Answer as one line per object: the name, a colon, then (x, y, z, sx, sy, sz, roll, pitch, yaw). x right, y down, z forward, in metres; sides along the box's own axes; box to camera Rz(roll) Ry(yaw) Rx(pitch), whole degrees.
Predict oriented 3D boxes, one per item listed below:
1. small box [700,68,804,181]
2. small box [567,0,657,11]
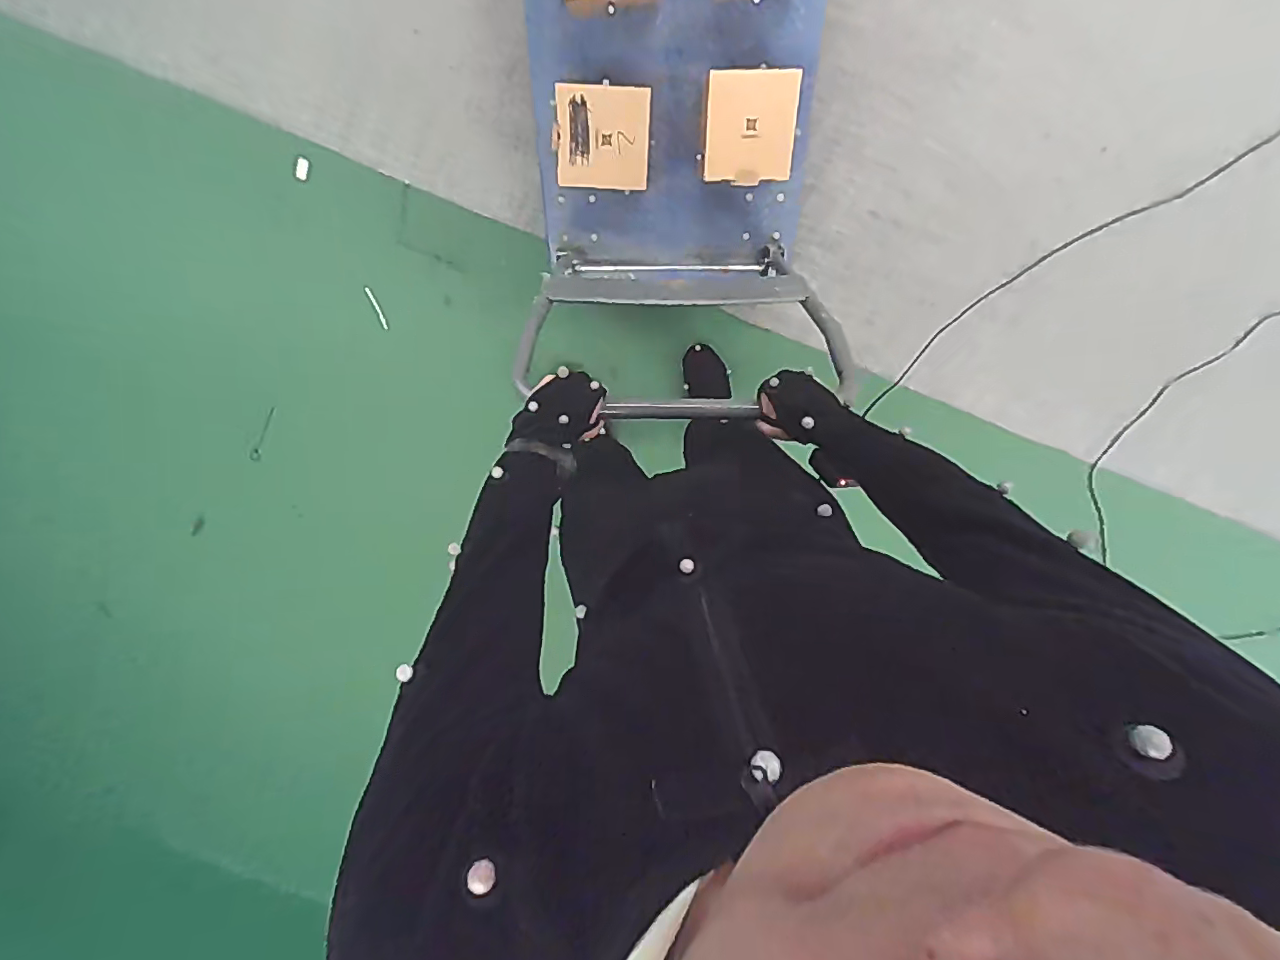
small box: (0.210, -0.695, 1.066, 0.168, 0.176, 0.179, 1, 122, 1)
small box: (-0.052, -0.932, 0.924, 0.168, 0.176, 0.179, -5, 121, 4)
